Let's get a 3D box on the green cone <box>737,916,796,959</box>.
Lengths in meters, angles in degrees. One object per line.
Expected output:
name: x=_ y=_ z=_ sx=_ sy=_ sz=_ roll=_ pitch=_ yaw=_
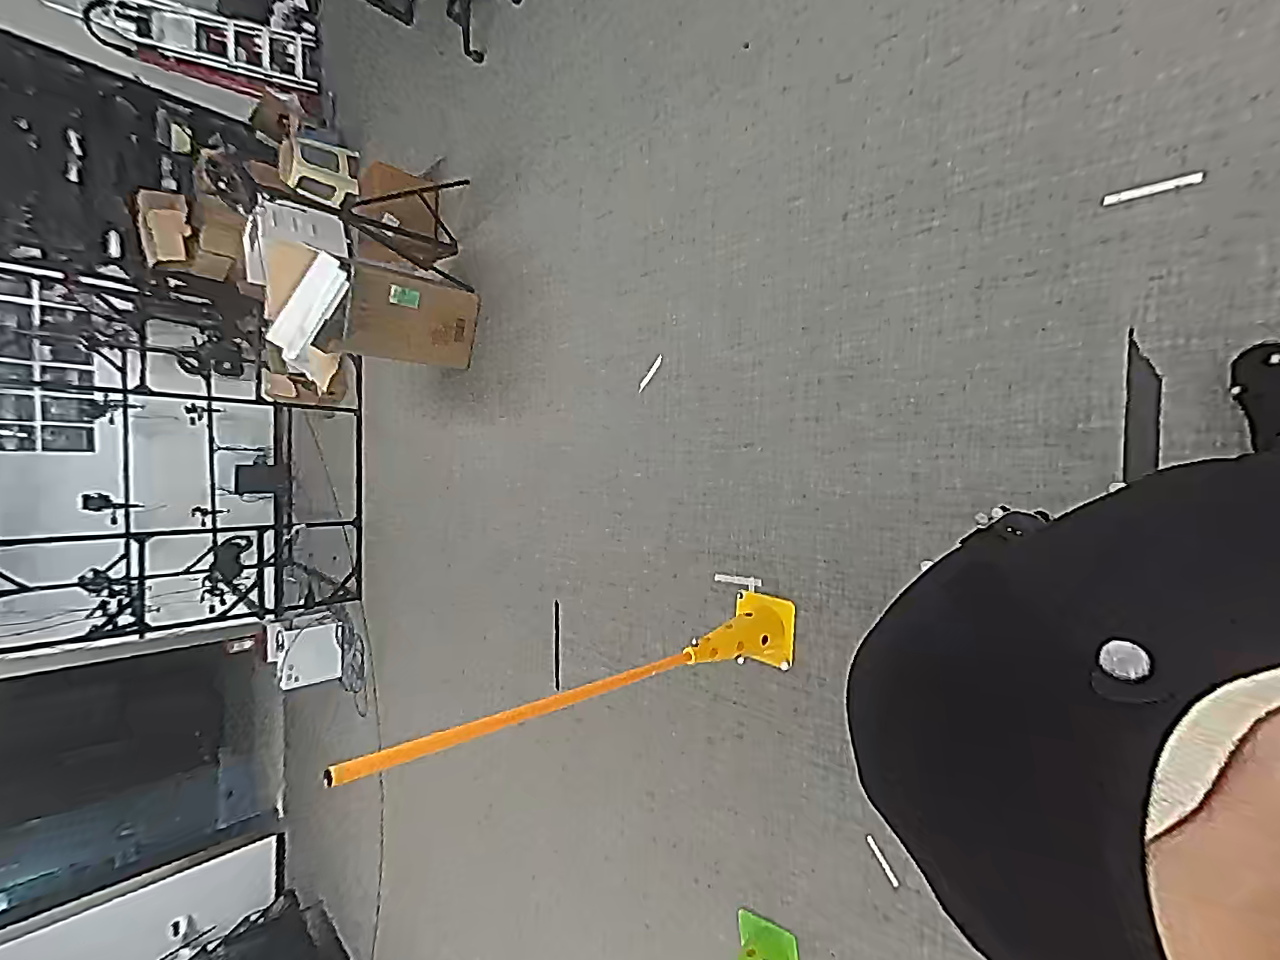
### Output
green cone: x=0.257 y=1.419 z=1.471 sx=0.200 sy=0.368 sz=0.202 roll=-12 pitch=79 yaw=44
